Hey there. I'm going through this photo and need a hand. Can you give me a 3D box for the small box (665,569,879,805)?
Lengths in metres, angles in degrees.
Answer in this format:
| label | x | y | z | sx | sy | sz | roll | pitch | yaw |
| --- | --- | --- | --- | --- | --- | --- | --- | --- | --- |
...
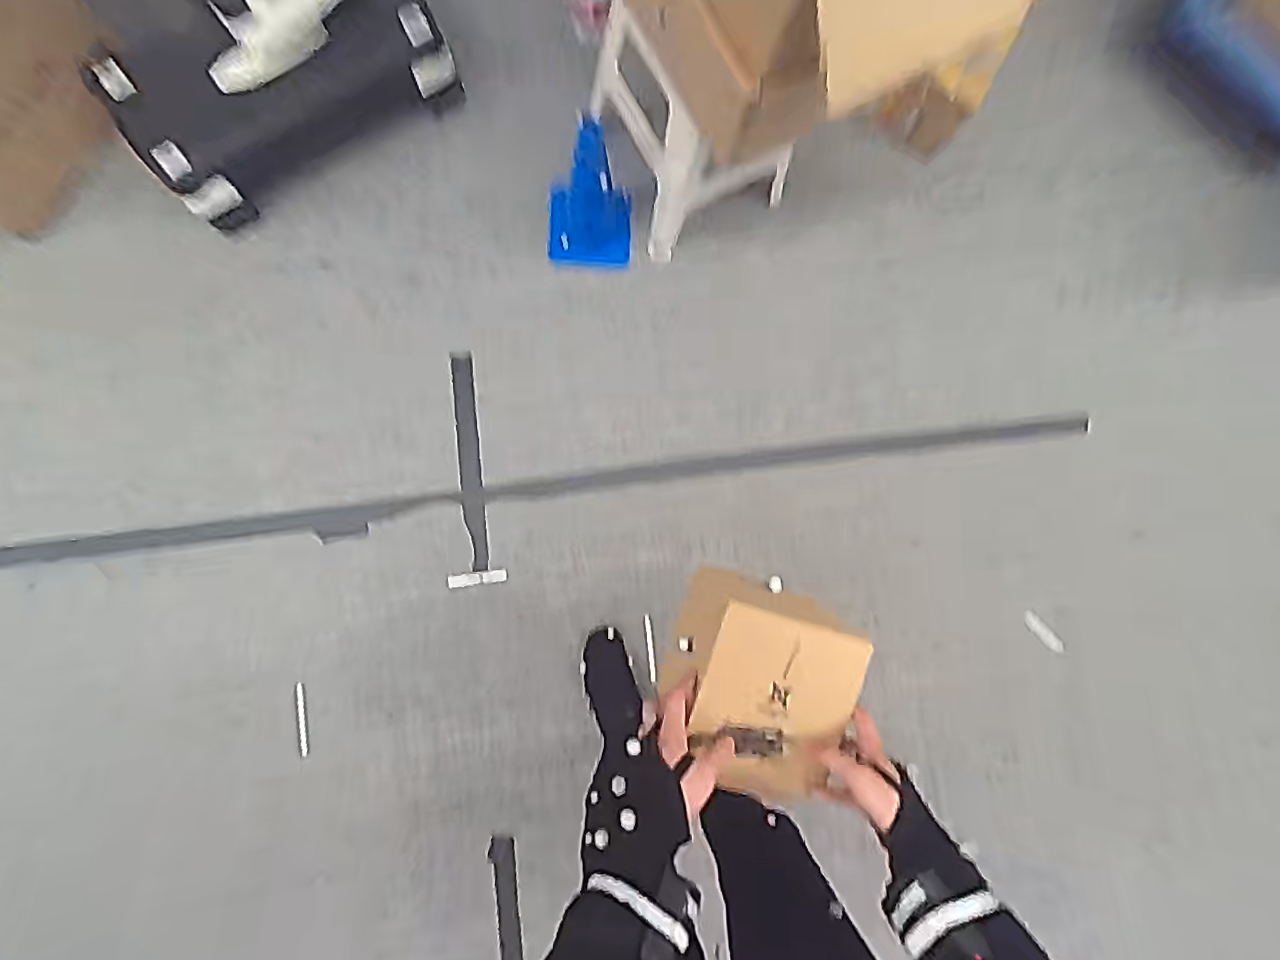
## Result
| label | x | y | z | sx | sy | sz | roll | pitch | yaw |
| --- | --- | --- | --- | --- | --- | --- | --- | --- | --- |
| small box | 0.135 | 0.224 | 0.626 | 0.168 | 0.176 | 0.179 | 18 | 93 | -6 |
